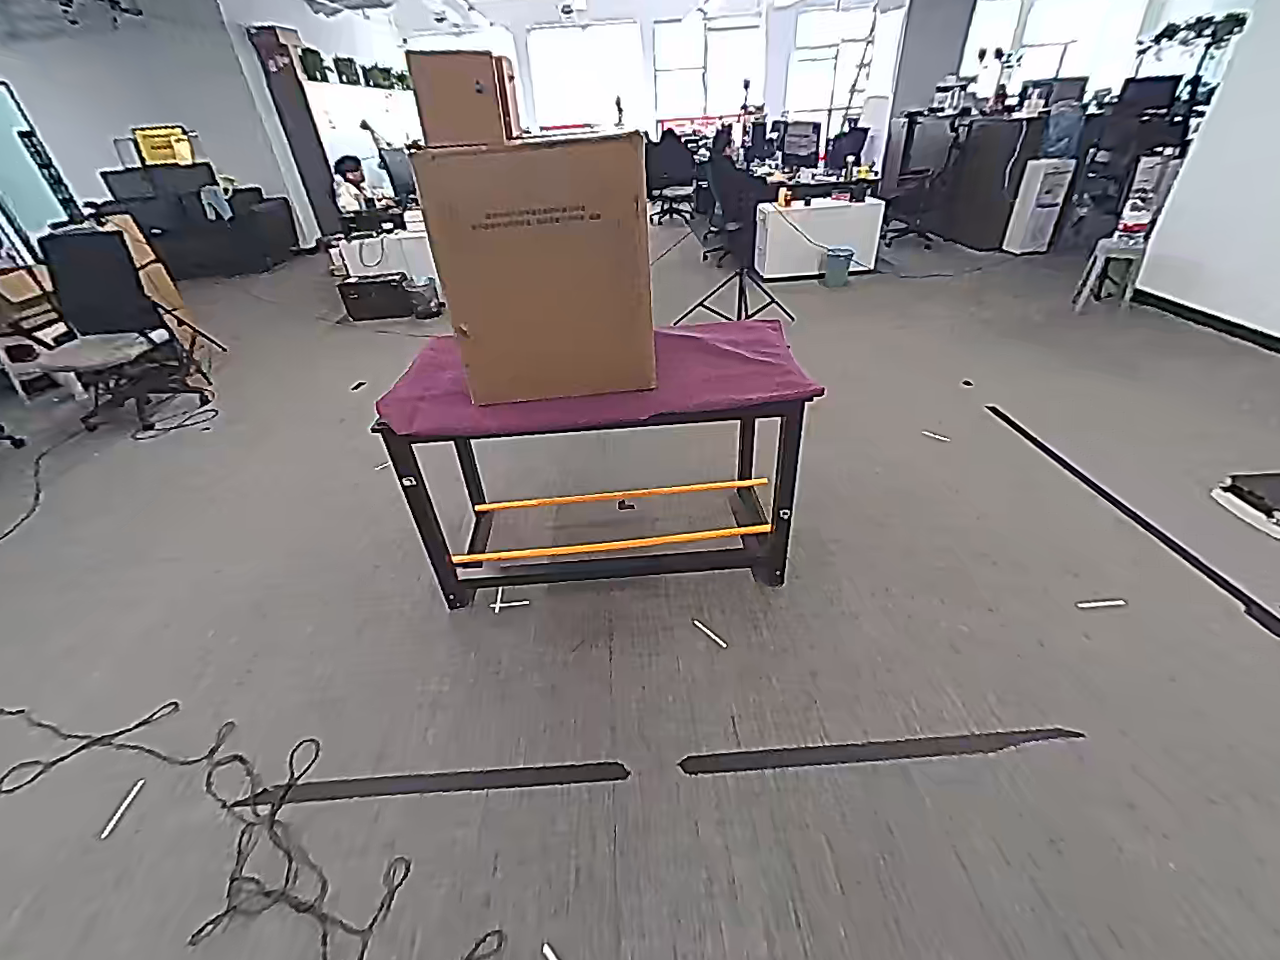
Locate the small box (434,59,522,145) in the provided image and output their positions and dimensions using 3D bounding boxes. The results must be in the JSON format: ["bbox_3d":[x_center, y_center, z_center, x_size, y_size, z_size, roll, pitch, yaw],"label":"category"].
[{"bbox_3d":[-0.406,-0.965,1.387,0.168,0.176,0.179,-3,34,-1],"label":"small box"}]
